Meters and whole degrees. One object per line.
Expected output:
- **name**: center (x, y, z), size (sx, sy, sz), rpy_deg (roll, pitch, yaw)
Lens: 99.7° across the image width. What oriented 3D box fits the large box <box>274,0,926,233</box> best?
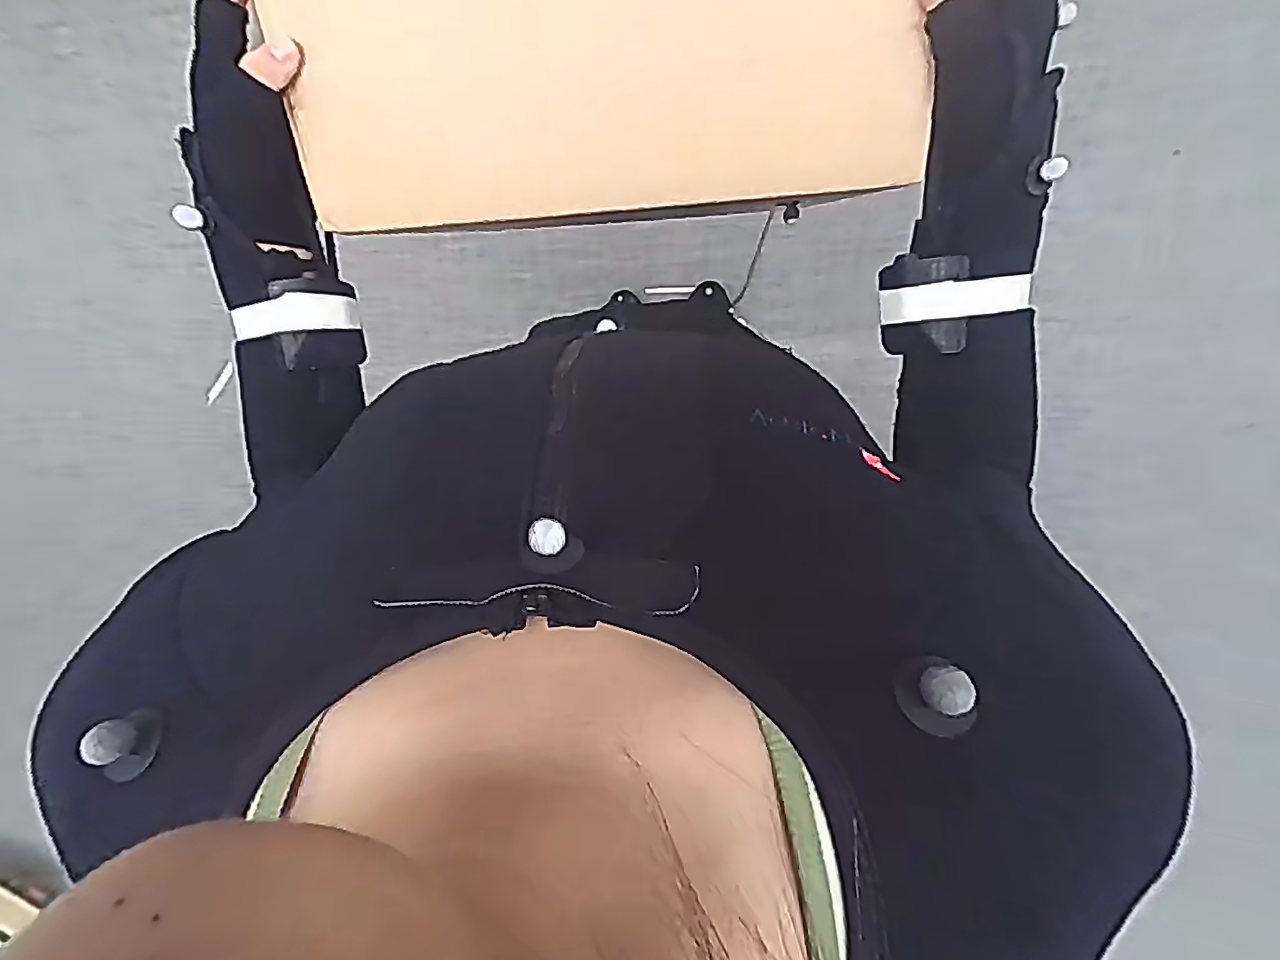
- **large box**: center (-0.021, -0.392, 0.445), size (0.408, 0.320, 0.320), rpy_deg (-2, 114, 6)
